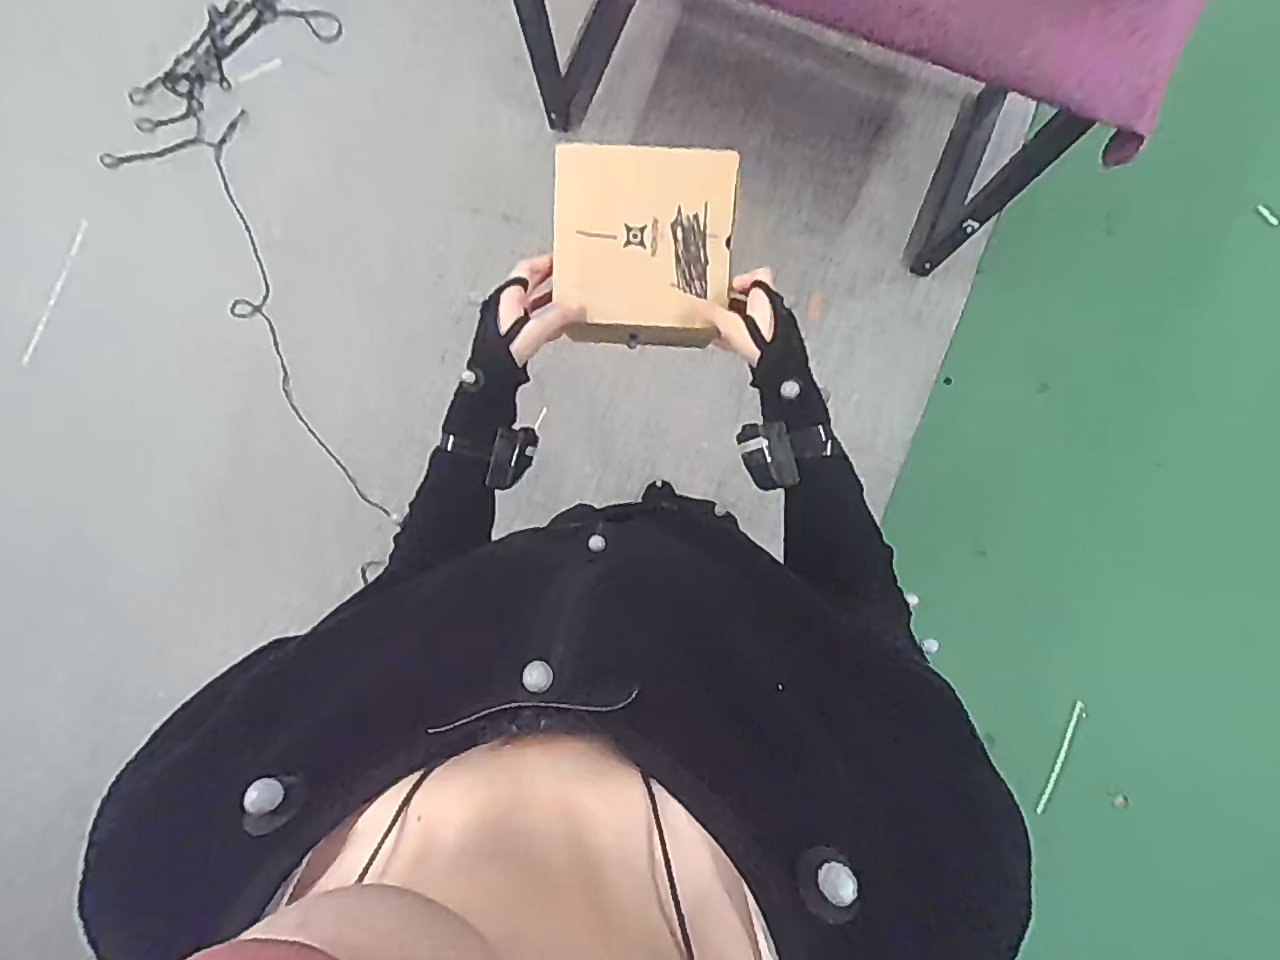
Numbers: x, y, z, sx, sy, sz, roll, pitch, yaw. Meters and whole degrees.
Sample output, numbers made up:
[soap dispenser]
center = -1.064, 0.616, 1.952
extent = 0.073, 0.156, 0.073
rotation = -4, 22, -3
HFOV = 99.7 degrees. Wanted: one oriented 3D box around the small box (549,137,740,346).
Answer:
[small box]
center = 0.002, -0.244, 0.595
extent = 0.179, 0.176, 0.168
rotation = 3, 96, 0
